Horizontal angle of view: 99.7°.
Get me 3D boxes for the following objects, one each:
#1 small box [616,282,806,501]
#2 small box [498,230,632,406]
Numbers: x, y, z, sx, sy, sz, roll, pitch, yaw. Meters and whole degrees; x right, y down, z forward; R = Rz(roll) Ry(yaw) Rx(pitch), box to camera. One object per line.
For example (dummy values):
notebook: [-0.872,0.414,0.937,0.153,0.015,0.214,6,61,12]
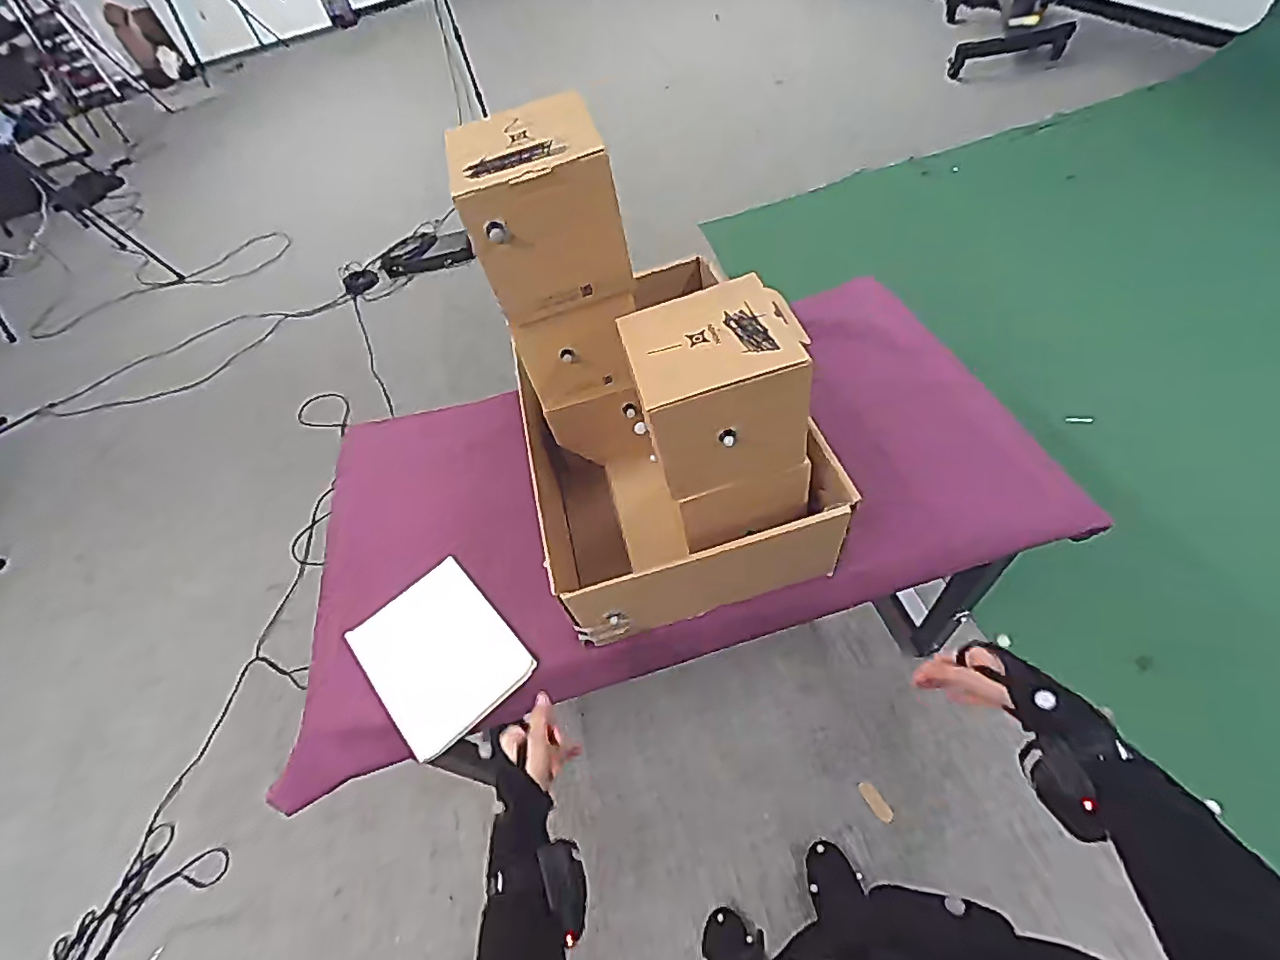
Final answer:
small box: [0.084,-0.102,0.654,0.179,0.176,0.168,-17,50,2]
small box: [-0.096,-0.229,0.799,0.168,0.176,0.179,-16,53,0]
